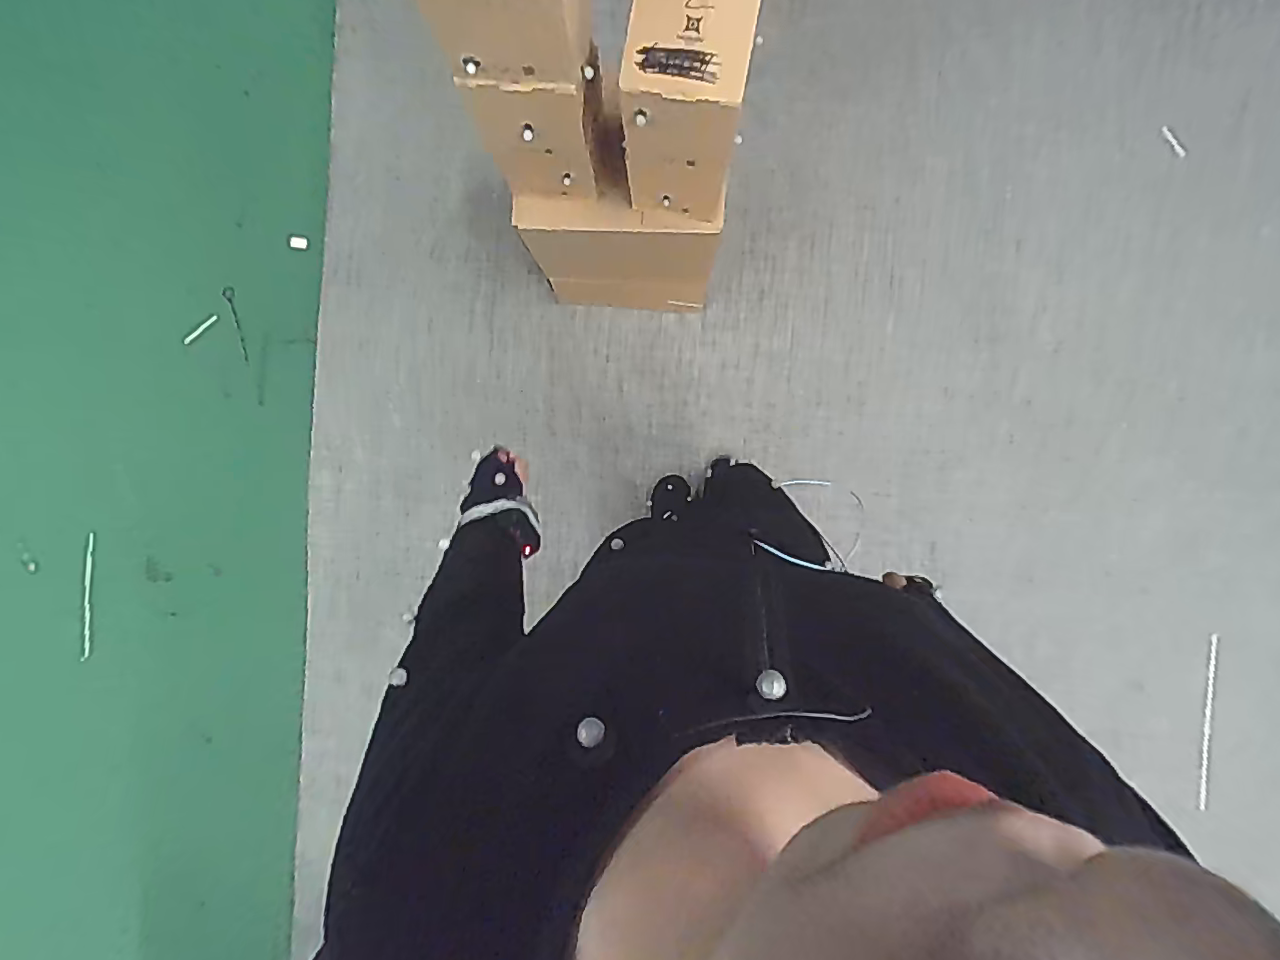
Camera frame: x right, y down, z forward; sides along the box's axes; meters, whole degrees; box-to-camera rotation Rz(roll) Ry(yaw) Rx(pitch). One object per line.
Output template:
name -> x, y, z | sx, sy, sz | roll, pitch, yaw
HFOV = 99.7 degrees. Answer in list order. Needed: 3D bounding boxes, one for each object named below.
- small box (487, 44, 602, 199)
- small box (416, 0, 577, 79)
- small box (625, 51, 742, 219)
small box -> -0.160, -0.623, 0.954 | 0.168, 0.176, 0.179 | 5, 92, 0
small box -> -0.163, -0.608, 0.626 | 0.168, 0.176, 0.179 | 3, 91, 0
small box -> 0.072, -0.592, 0.945 | 0.168, 0.176, 0.179 | 10, 92, 3
